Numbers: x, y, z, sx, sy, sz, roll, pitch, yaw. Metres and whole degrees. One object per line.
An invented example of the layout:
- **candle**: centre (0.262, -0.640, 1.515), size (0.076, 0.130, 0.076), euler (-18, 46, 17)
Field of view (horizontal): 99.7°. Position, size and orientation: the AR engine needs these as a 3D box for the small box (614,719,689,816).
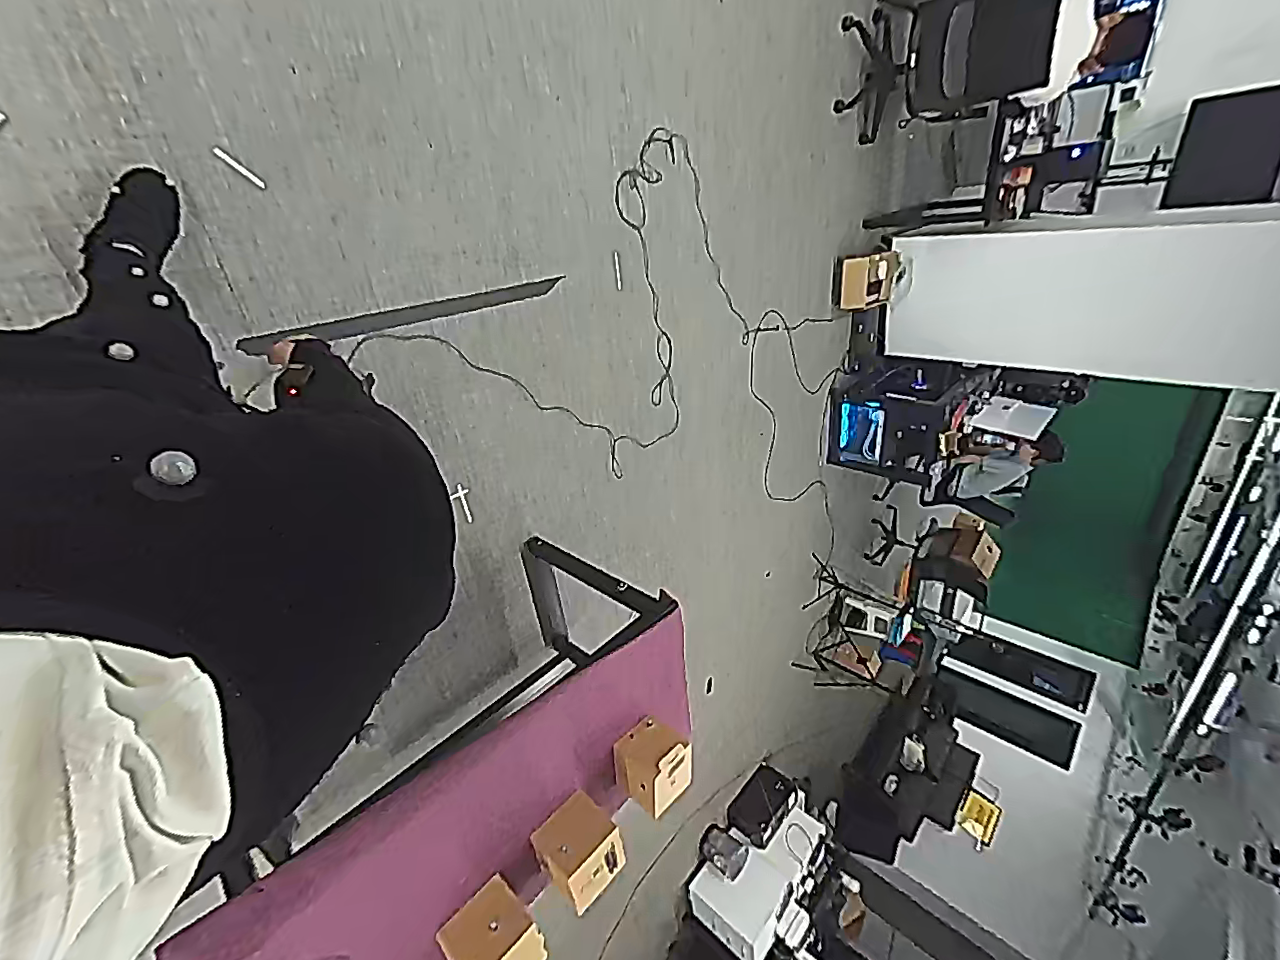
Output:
- **small box**: centre (0.034, 0.863, 1.650), size (0.168, 0.176, 0.179), euler (-23, 120, -41)
